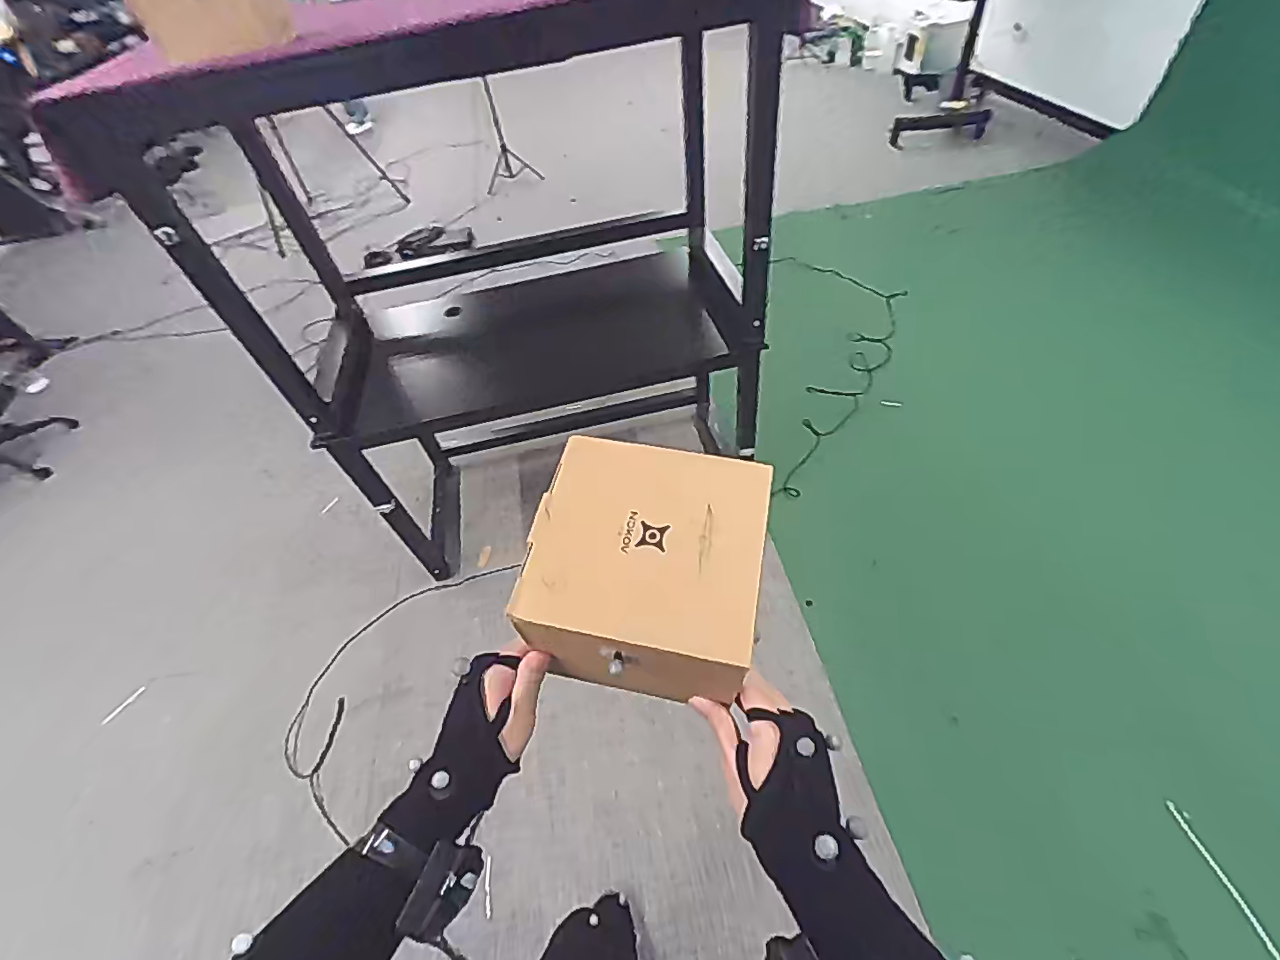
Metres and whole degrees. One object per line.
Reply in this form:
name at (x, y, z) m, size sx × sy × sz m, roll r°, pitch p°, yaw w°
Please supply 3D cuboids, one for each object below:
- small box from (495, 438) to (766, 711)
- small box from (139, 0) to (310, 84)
small box at (0.004, 0.088, 0.471) m, size 0.179 × 0.176 × 0.168 m, roll 9°, pitch 58°, yaw 10°
small box at (-0.682, -0.769, 0.876) m, size 0.179 × 0.176 × 0.168 m, roll -14°, pitch 48°, yaw -3°
